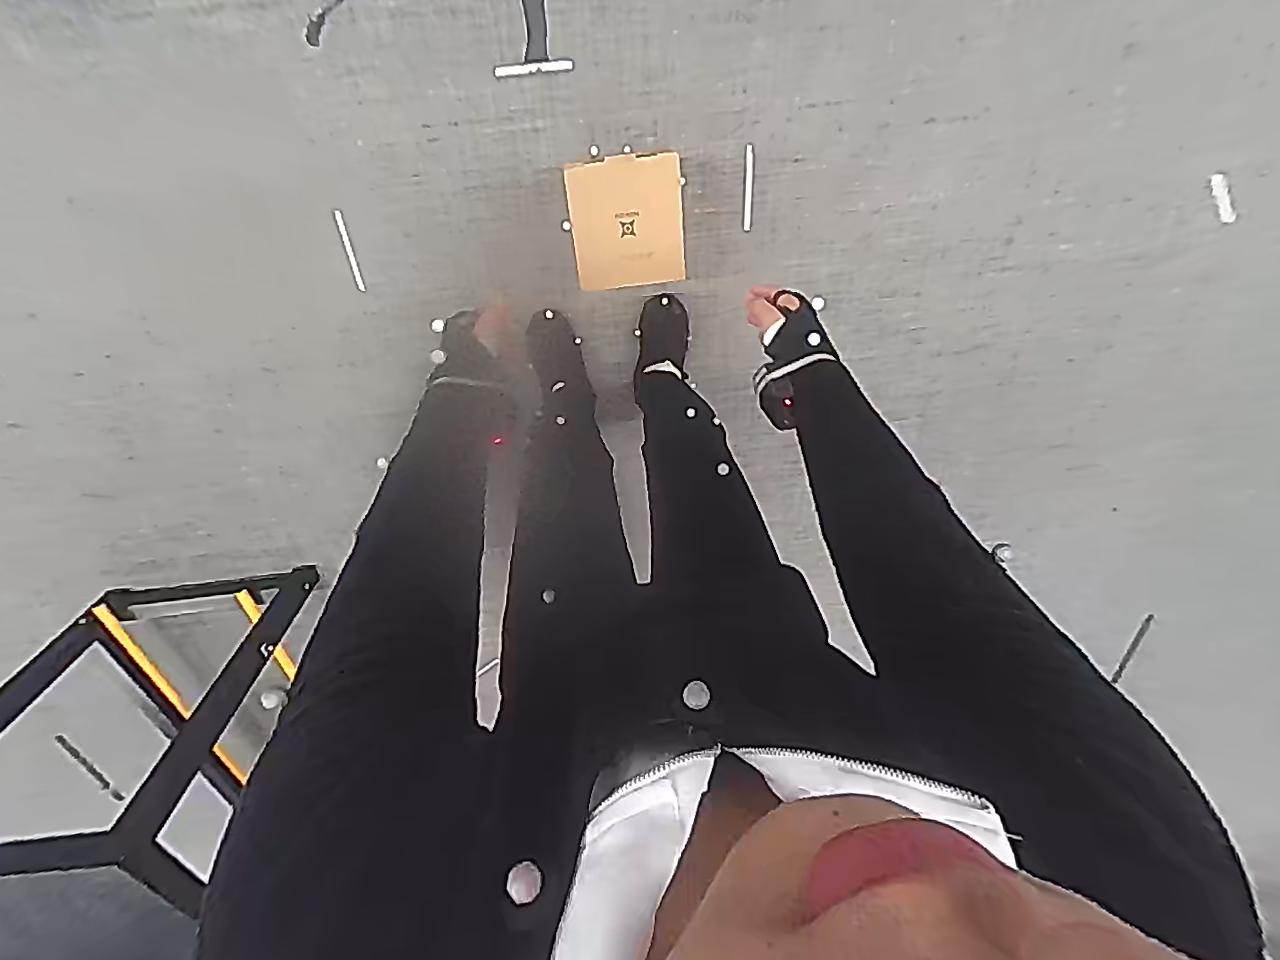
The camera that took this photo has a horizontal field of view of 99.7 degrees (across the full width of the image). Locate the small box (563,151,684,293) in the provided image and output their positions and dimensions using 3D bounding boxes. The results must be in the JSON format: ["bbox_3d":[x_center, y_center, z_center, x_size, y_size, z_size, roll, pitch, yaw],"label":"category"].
[{"bbox_3d":[-0.025,-0.414,0.858,0.168,0.176,0.179,-7,124,1],"label":"small box"}]
